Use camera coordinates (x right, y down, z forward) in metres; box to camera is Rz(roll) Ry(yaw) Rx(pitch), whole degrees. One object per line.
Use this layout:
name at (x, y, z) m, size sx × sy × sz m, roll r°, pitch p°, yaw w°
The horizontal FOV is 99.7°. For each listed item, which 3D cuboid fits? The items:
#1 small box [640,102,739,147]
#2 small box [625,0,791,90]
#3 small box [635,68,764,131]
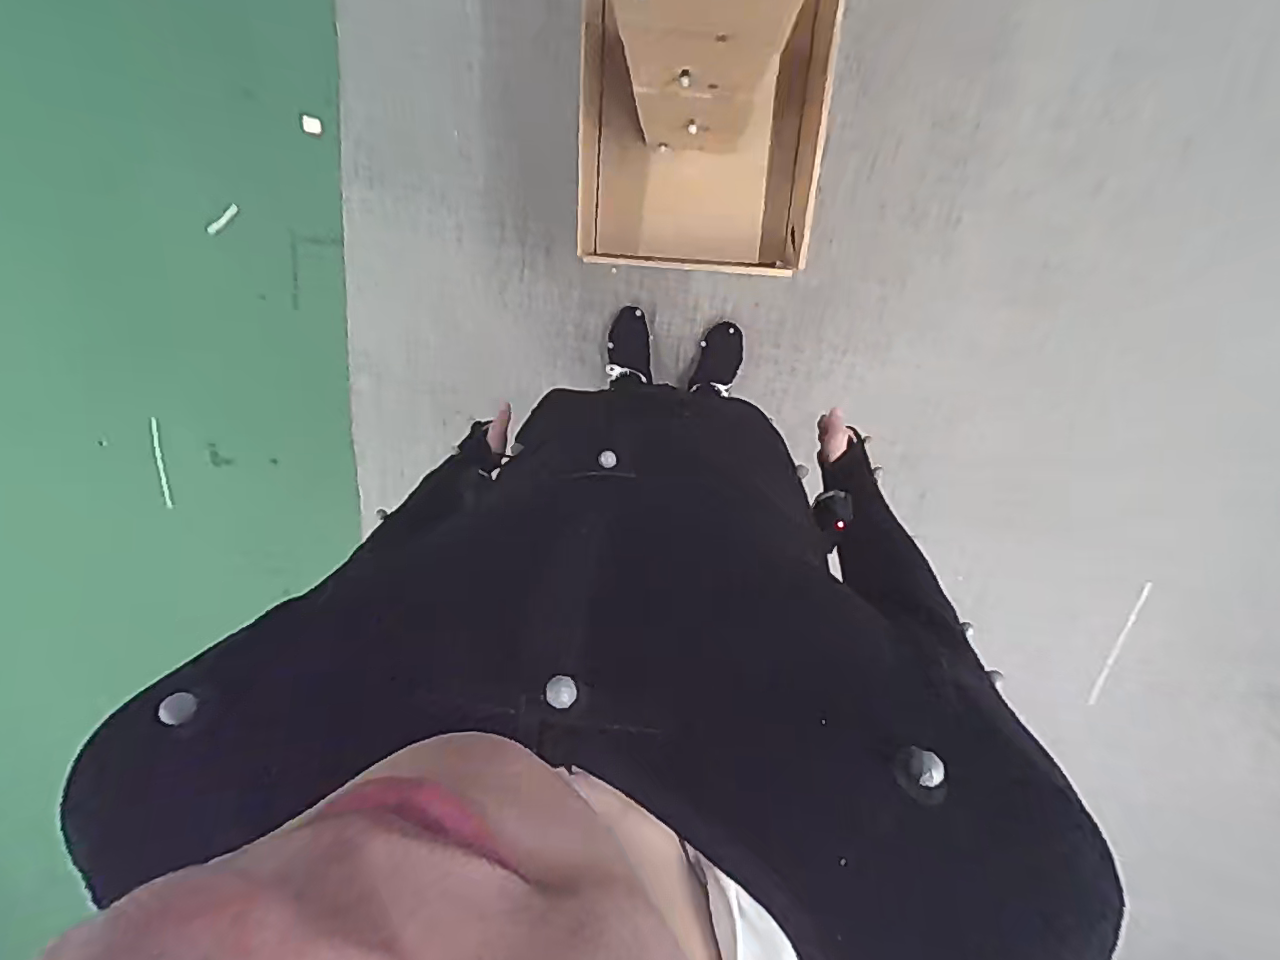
small box at (0.095, -0.671, 0.891) m, size 0.168 × 0.176 × 0.179 m, roll 6°, pitch 108°, yaw 1°
small box at (0.074, -0.558, 0.585) m, size 0.168 × 0.176 × 0.179 m, roll 4°, pitch 110°, yaw 2°
small box at (0.085, -0.607, 0.739) m, size 0.168 × 0.176 × 0.179 m, roll 5°, pitch 109°, yaw 2°
